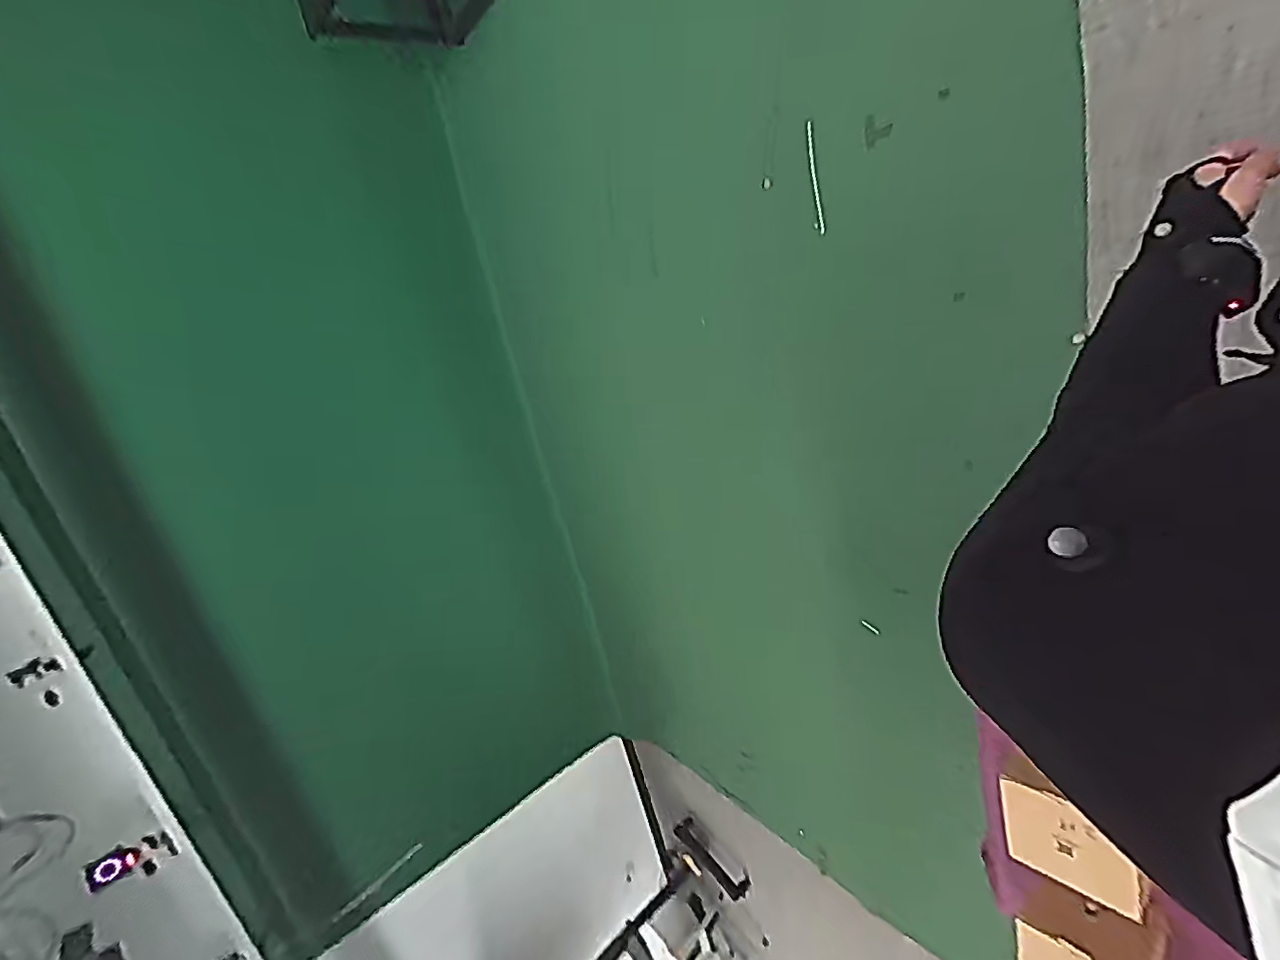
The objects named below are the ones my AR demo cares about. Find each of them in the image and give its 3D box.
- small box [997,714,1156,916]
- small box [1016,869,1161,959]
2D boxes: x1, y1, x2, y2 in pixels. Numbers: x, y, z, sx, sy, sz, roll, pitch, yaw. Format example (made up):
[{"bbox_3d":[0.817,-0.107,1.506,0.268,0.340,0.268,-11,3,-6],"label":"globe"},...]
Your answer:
[{"bbox_3d":[0.702,0.520,0.867,0.168,0.176,0.179,4,114,51],"label":"small box"},{"bbox_3d":[0.781,0.815,0.945,0.168,0.176,0.179,7,113,52],"label":"small box"}]
